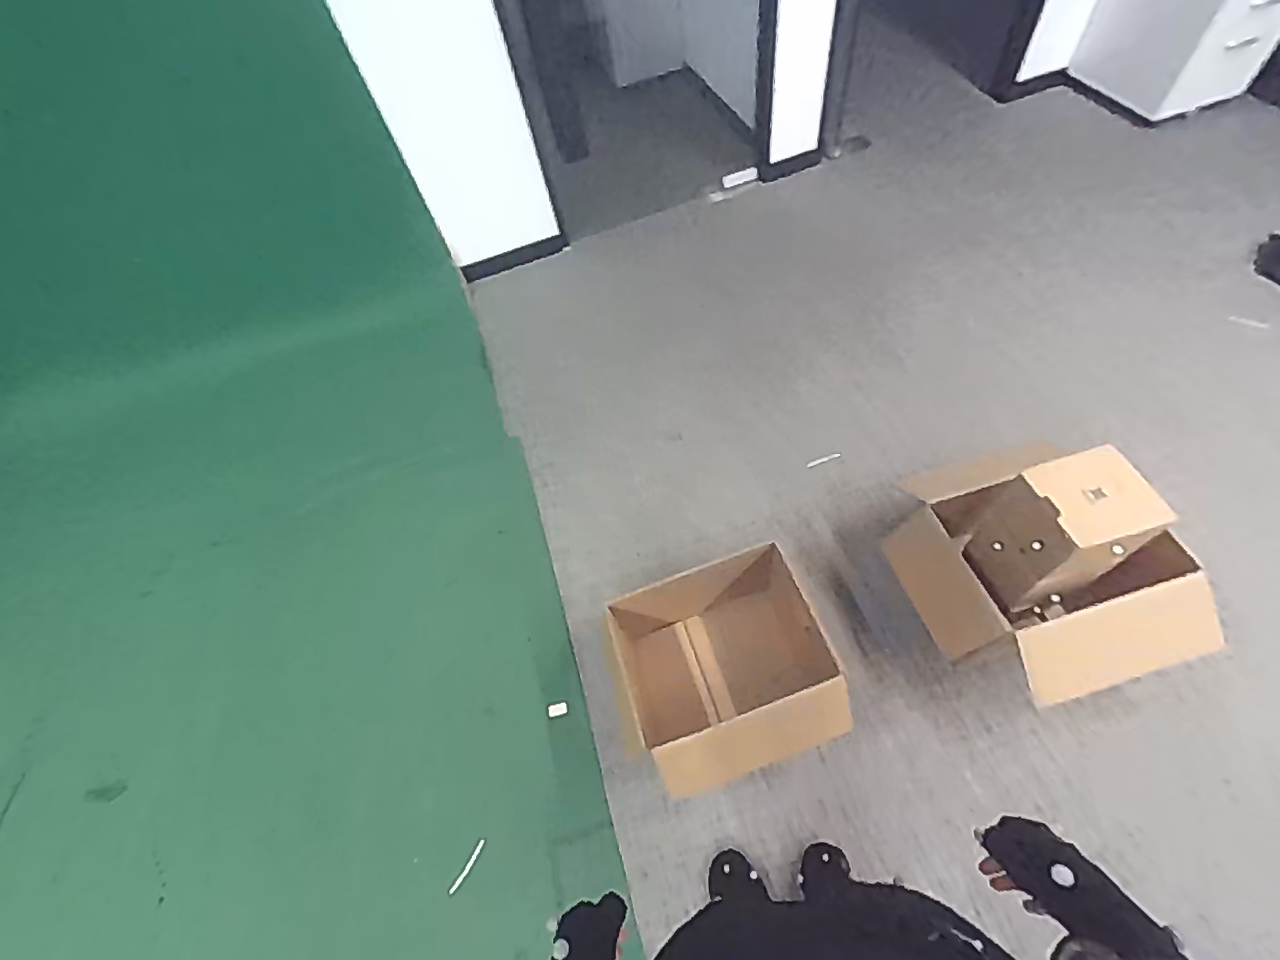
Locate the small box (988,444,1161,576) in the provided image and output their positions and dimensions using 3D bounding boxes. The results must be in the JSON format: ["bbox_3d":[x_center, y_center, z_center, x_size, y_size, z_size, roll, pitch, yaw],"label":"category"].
[{"bbox_3d":[0.804,0.064,1.032,0.179,0.176,0.168,-18,59,0],"label":"small box"}]
